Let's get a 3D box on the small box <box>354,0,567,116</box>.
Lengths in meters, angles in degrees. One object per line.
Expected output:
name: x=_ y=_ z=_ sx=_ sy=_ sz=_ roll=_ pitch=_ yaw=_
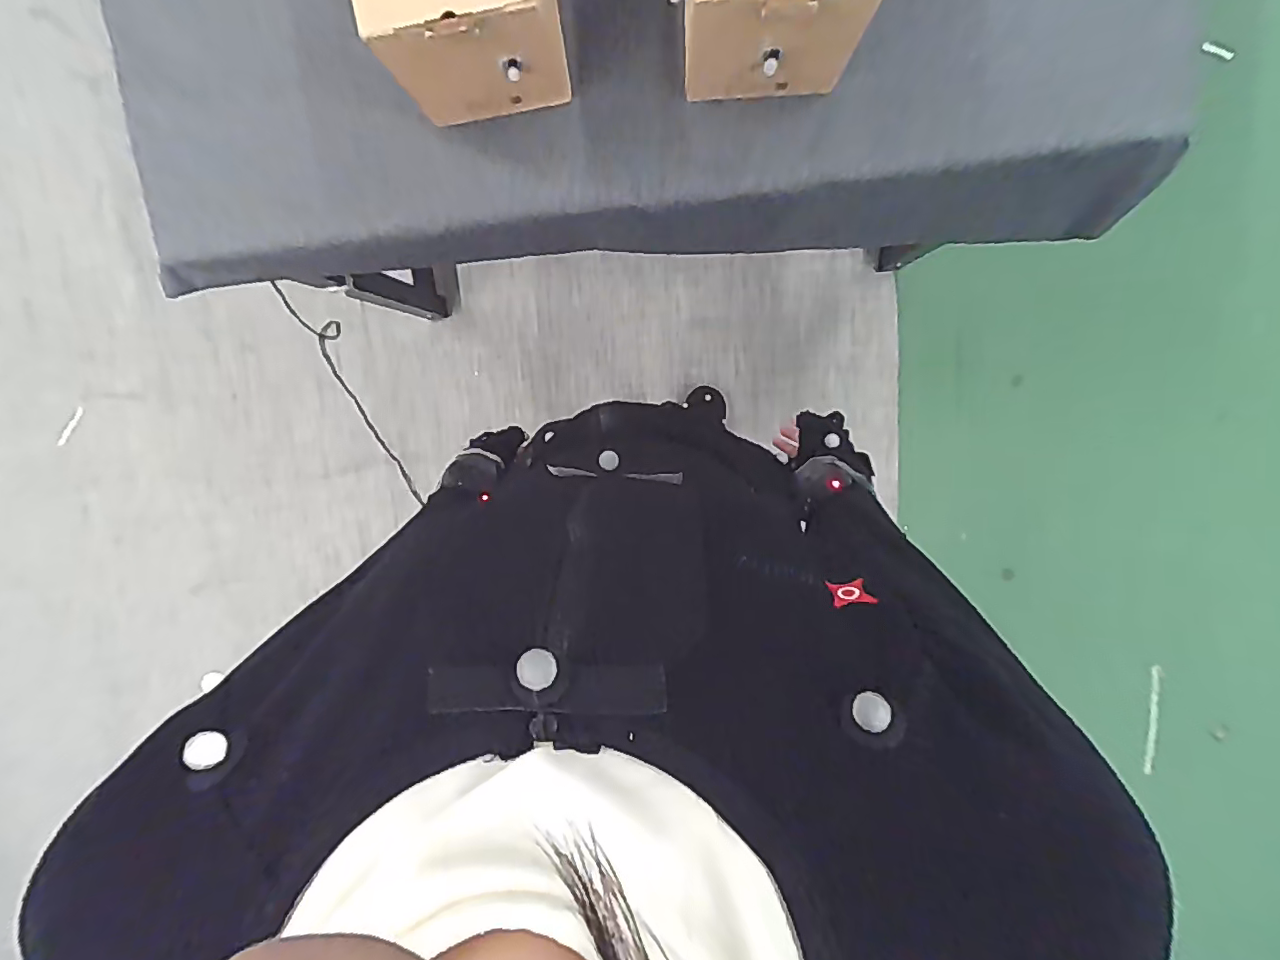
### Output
small box: x=-0.178 y=-0.503 z=0.547 sx=0.168 sy=0.176 sz=0.179 roll=-8 pitch=98 yaw=4

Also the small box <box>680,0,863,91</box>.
small box: x=0.123 y=-0.510 z=0.524 sx=0.168 sy=0.176 sz=0.179 roll=-1 pitch=100 yaw=4
